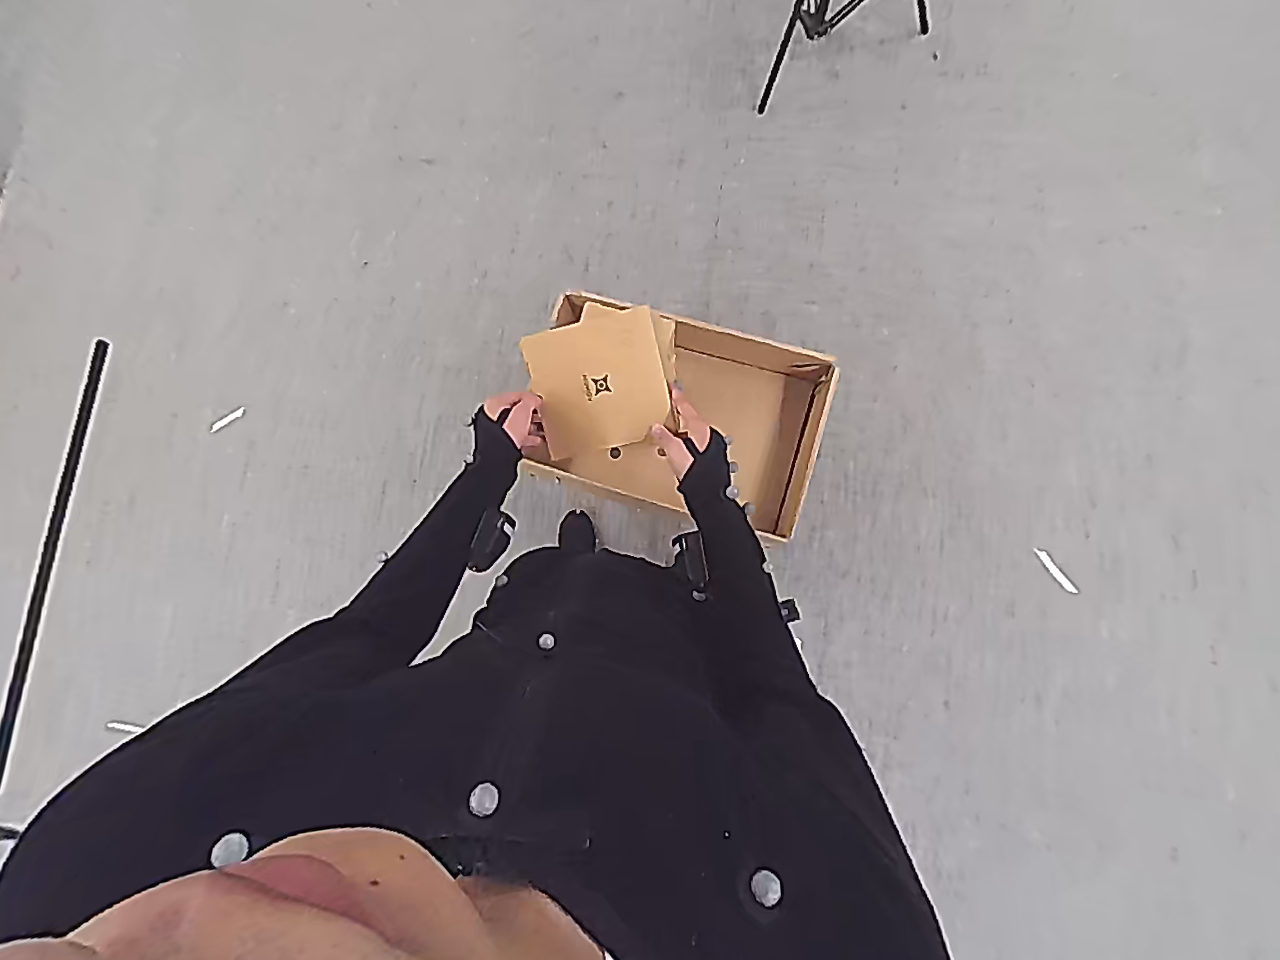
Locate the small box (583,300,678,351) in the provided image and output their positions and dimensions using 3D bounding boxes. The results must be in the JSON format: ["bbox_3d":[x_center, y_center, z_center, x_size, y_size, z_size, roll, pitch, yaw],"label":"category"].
[{"bbox_3d":[-0.031,-0.208,1.021,0.168,0.176,0.179,14,84,4],"label":"small box"}]

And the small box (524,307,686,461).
[{"bbox_3d":[-0.036,-0.135,0.764,0.179,0.176,0.168,-12,99,12],"label":"small box"}]
